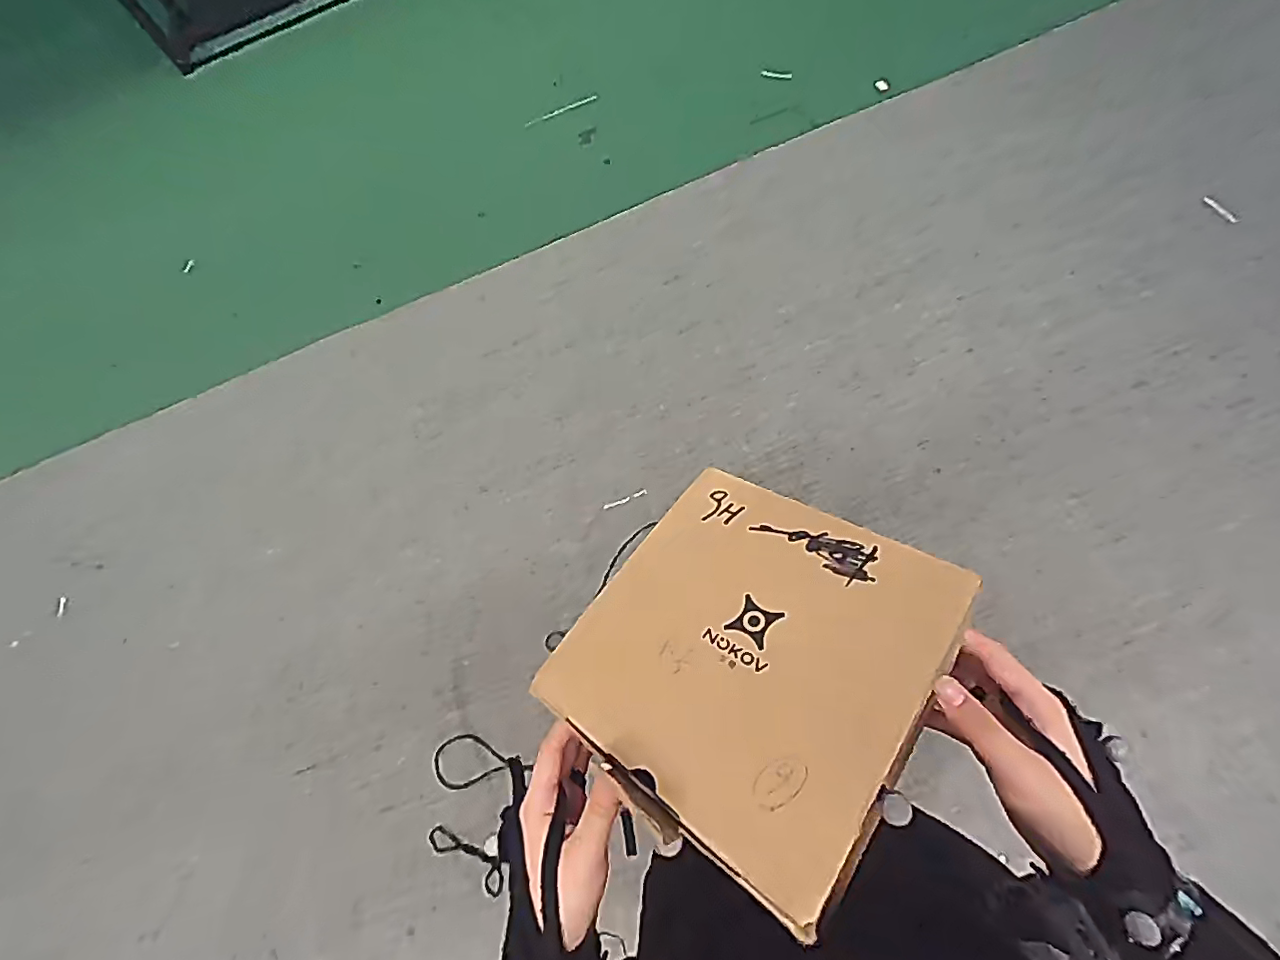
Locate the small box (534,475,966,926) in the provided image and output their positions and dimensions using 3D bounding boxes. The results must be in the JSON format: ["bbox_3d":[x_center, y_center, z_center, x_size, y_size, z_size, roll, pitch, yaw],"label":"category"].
[{"bbox_3d":[0.074,0.134,0.340,0.168,0.176,0.179,25,63,35],"label":"small box"}]
